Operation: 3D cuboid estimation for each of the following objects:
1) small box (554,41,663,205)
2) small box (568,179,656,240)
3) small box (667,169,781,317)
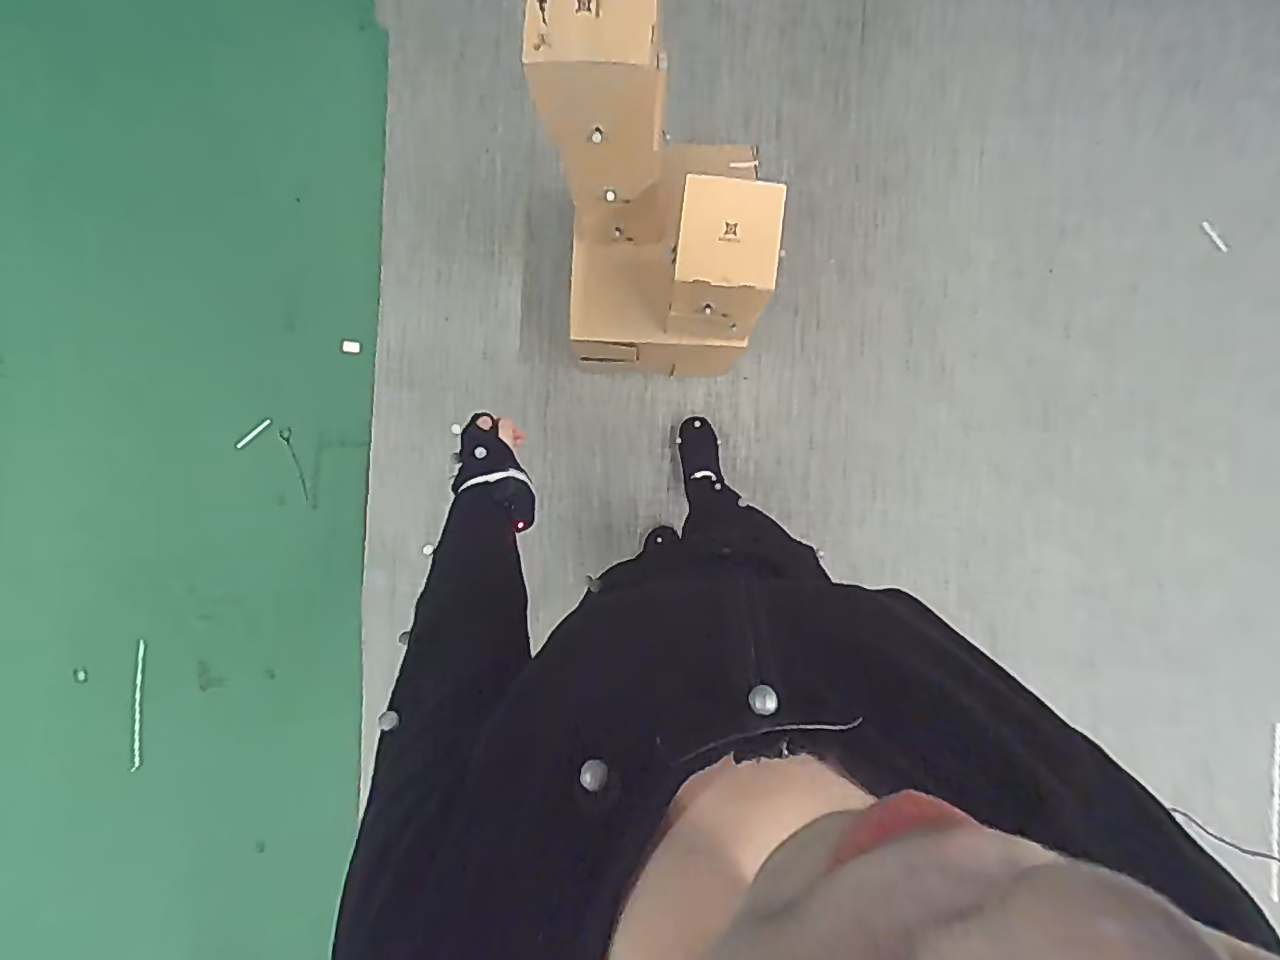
[{"bbox_3d":[-0.050,-0.625,0.962,0.168,0.176,0.179,5,87,2],"label":"small box"},{"bbox_3d":[-0.052,-0.630,1.128,0.168,0.176,0.179,3,86,2],"label":"small box"},{"bbox_3d":[0.138,-0.407,0.952,0.168,0.176,0.179,6,89,0],"label":"small box"}]
